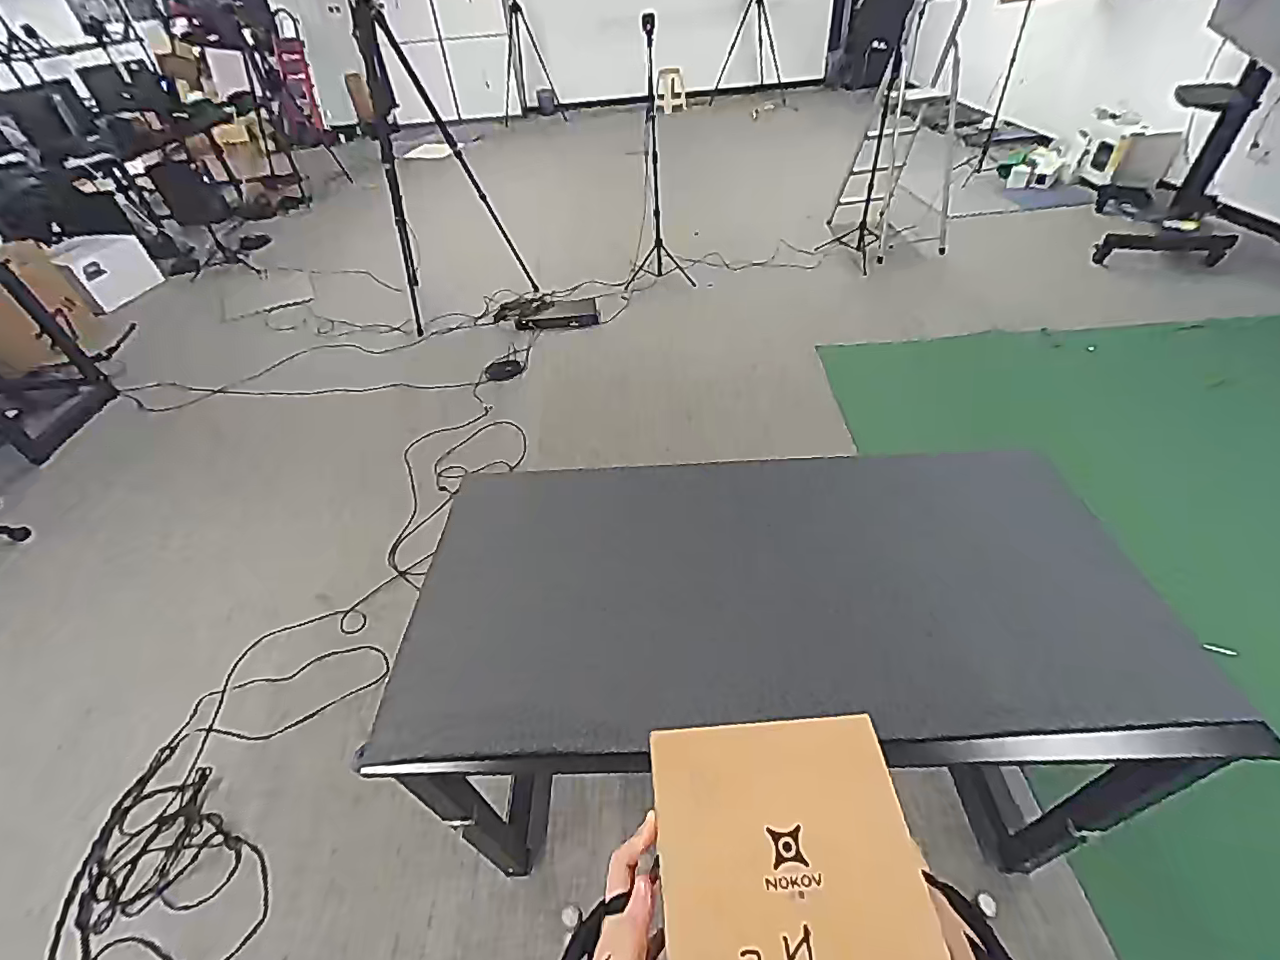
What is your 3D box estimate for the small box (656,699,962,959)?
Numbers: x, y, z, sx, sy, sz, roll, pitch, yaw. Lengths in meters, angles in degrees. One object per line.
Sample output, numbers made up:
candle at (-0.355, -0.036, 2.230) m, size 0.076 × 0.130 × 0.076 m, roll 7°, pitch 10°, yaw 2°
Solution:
small box at (0.099, 0.285, 0.404) m, size 0.168 × 0.176 × 0.179 m, roll -4°, pitch 48°, yaw -1°
